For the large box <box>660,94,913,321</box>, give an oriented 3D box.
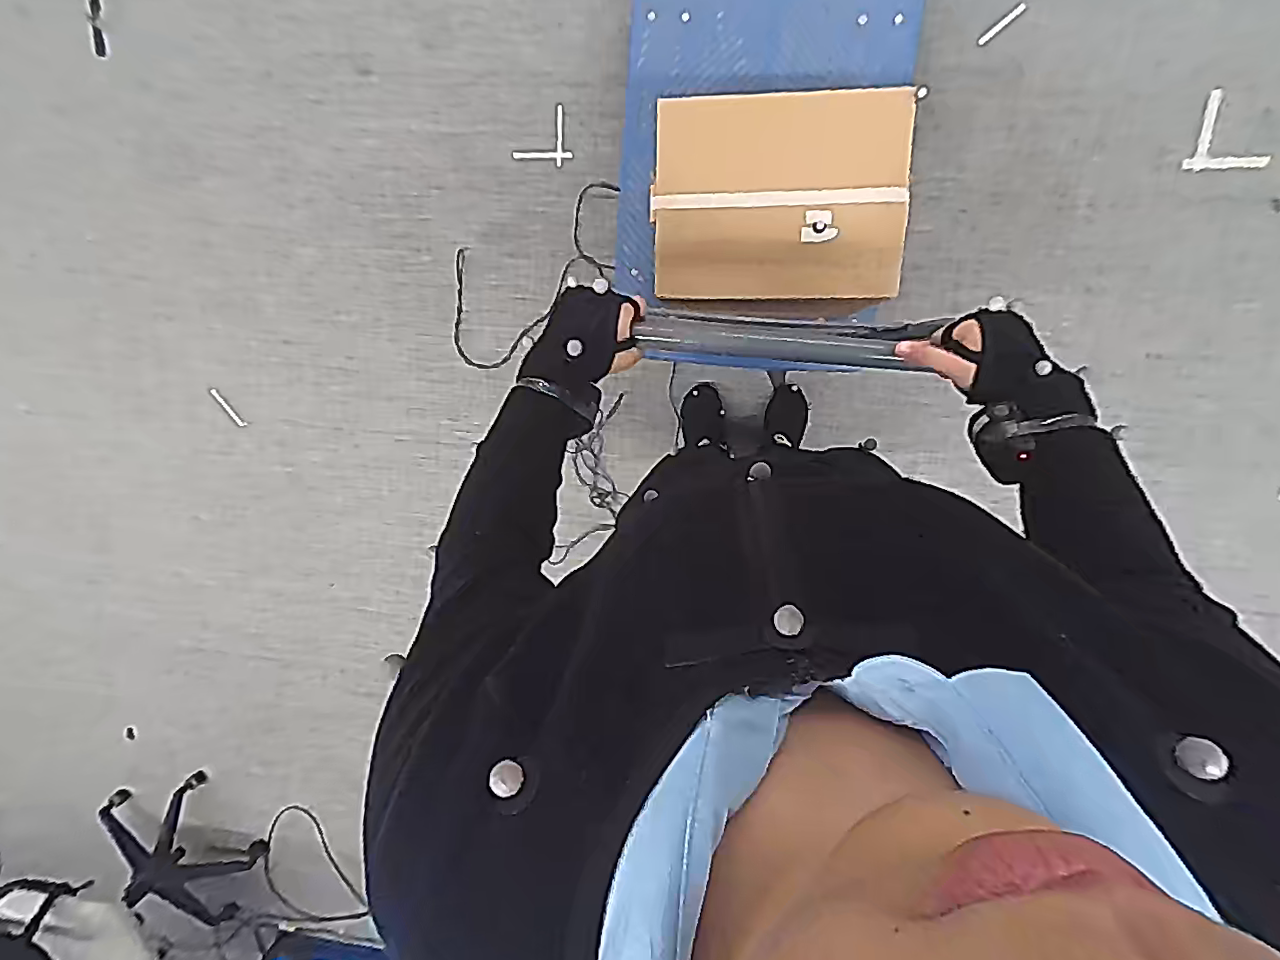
[{"bbox_3d":[0.247,-0.483,1.040,0.408,0.320,0.320,1,102,6],"label":"large box"}]
